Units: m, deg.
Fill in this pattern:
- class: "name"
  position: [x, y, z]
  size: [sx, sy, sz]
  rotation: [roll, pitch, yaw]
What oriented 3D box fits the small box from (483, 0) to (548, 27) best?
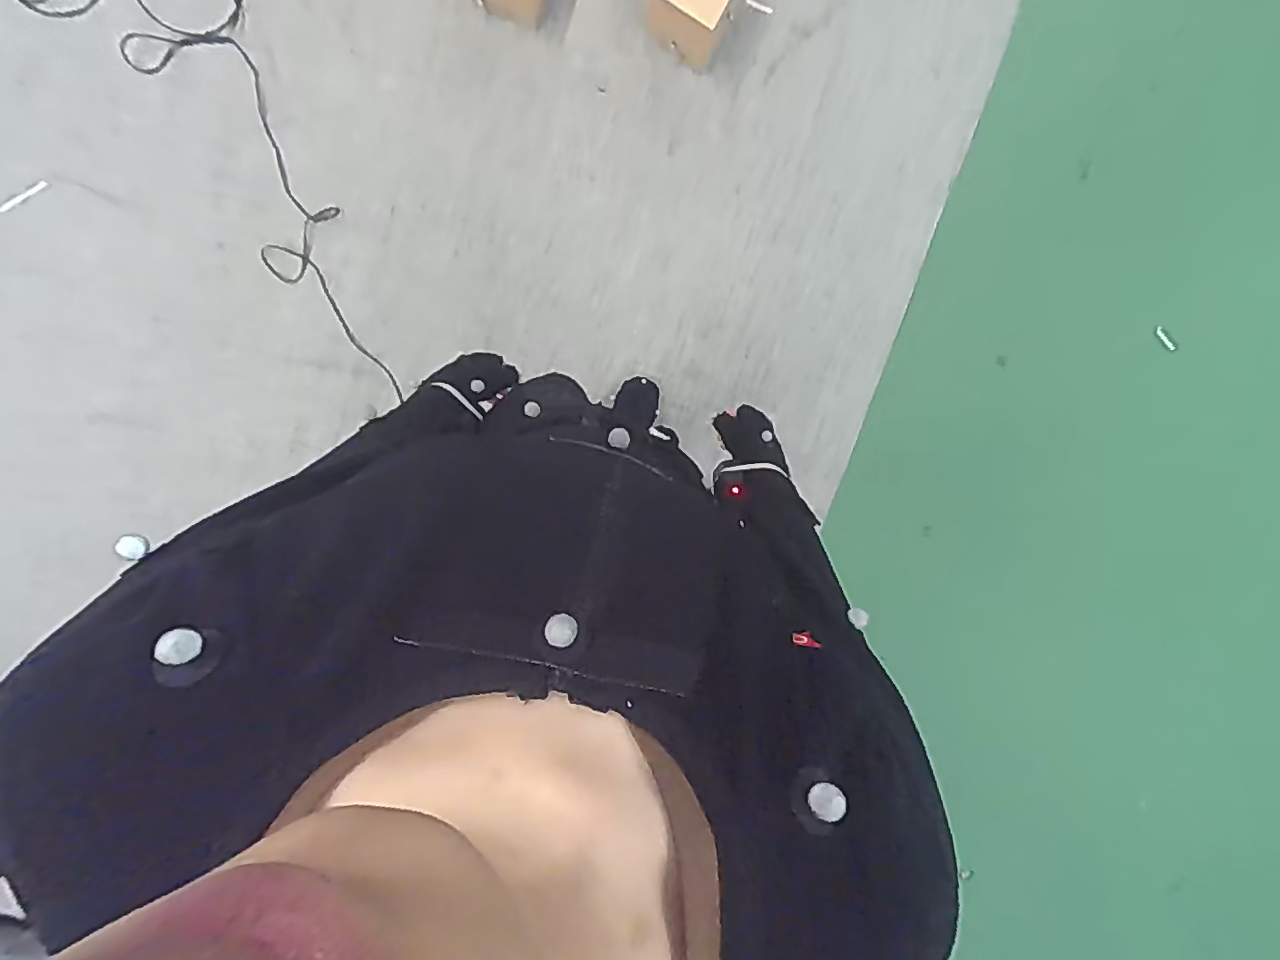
- class: "small box"
  position: [-0.286, -1.183, 1.213]
  size: [0.168, 0.176, 0.179]
  rotation: [22, 97, -3]
